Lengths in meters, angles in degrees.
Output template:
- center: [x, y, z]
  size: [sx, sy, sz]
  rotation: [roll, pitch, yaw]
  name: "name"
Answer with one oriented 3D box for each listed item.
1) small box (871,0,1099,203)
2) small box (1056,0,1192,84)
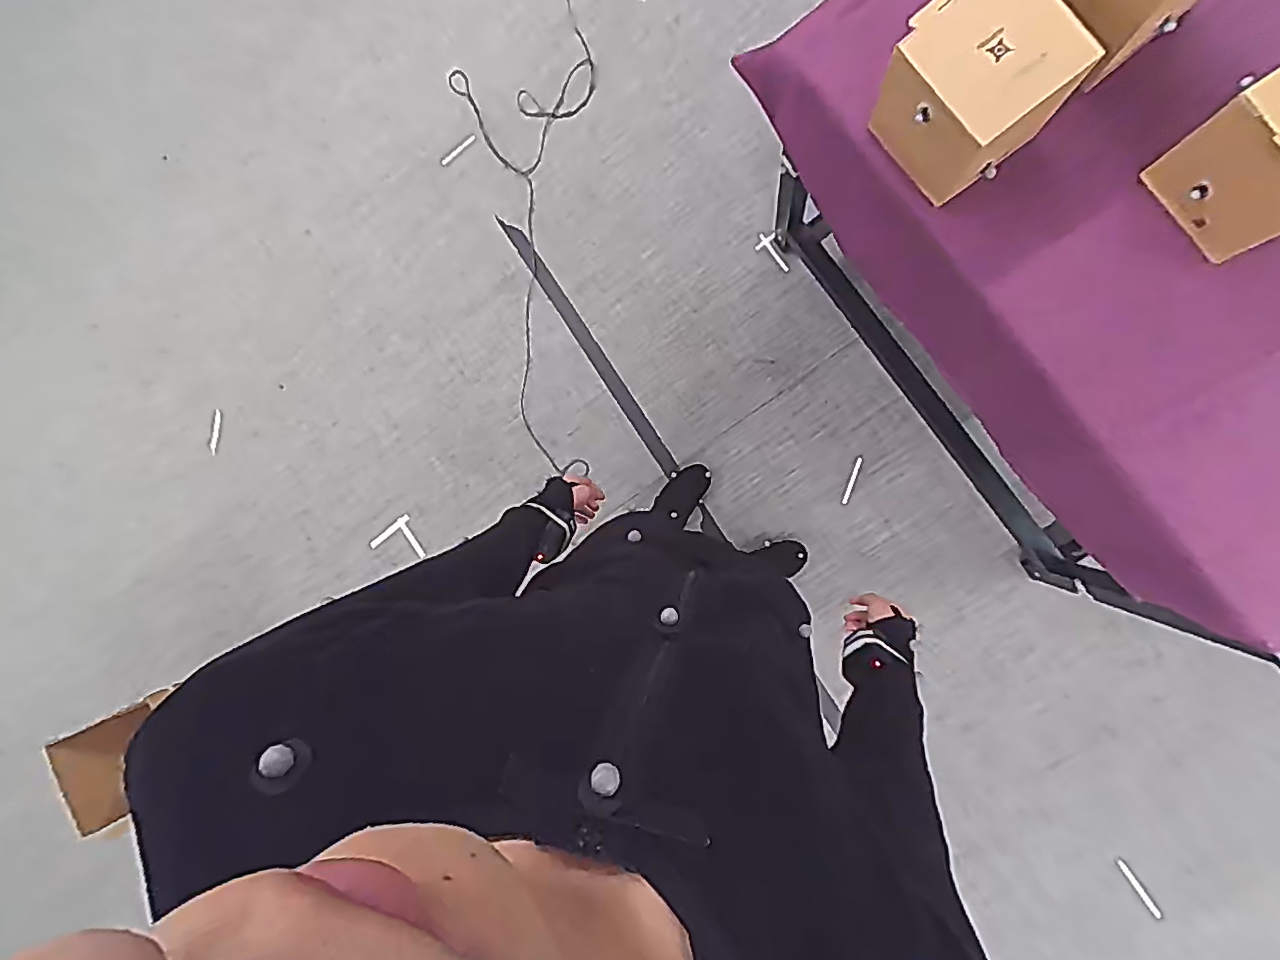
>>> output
- center: [0.447, -0.527, 0.739]
  size: [0.168, 0.176, 0.179]
  rotation: [-36, 84, 10]
  name: "small box"
- center: [0.632, -0.678, 0.701]
  size: [0.168, 0.176, 0.179]
  rotation: [-38, 84, 10]
  name: "small box"
